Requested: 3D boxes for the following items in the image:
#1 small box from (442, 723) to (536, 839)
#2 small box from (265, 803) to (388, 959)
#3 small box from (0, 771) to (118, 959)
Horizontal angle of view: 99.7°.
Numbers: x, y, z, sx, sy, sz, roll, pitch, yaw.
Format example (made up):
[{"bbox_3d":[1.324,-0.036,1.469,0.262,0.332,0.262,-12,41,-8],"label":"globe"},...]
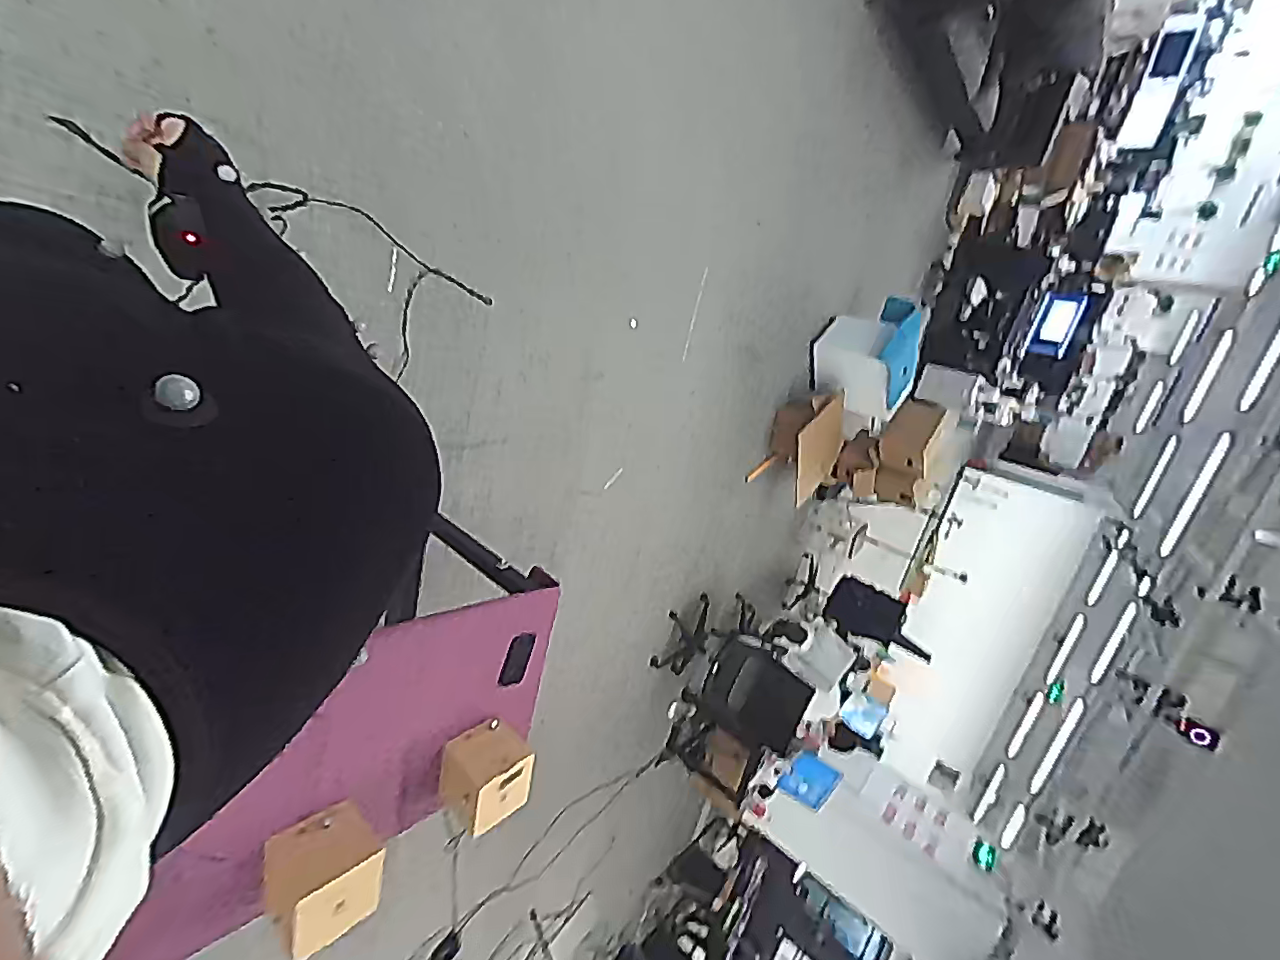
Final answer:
[{"bbox_3d":[-0.396,0.766,1.404,0.168,0.176,0.179,-11,119,-49],"label":"small box"},{"bbox_3d":[-0.647,0.820,1.112,0.168,0.176,0.179,-8,115,-51],"label":"small box"},{"bbox_3d":[-0.816,0.532,0.708,0.168,0.176,0.179,-4,113,-53],"label":"small box"}]
